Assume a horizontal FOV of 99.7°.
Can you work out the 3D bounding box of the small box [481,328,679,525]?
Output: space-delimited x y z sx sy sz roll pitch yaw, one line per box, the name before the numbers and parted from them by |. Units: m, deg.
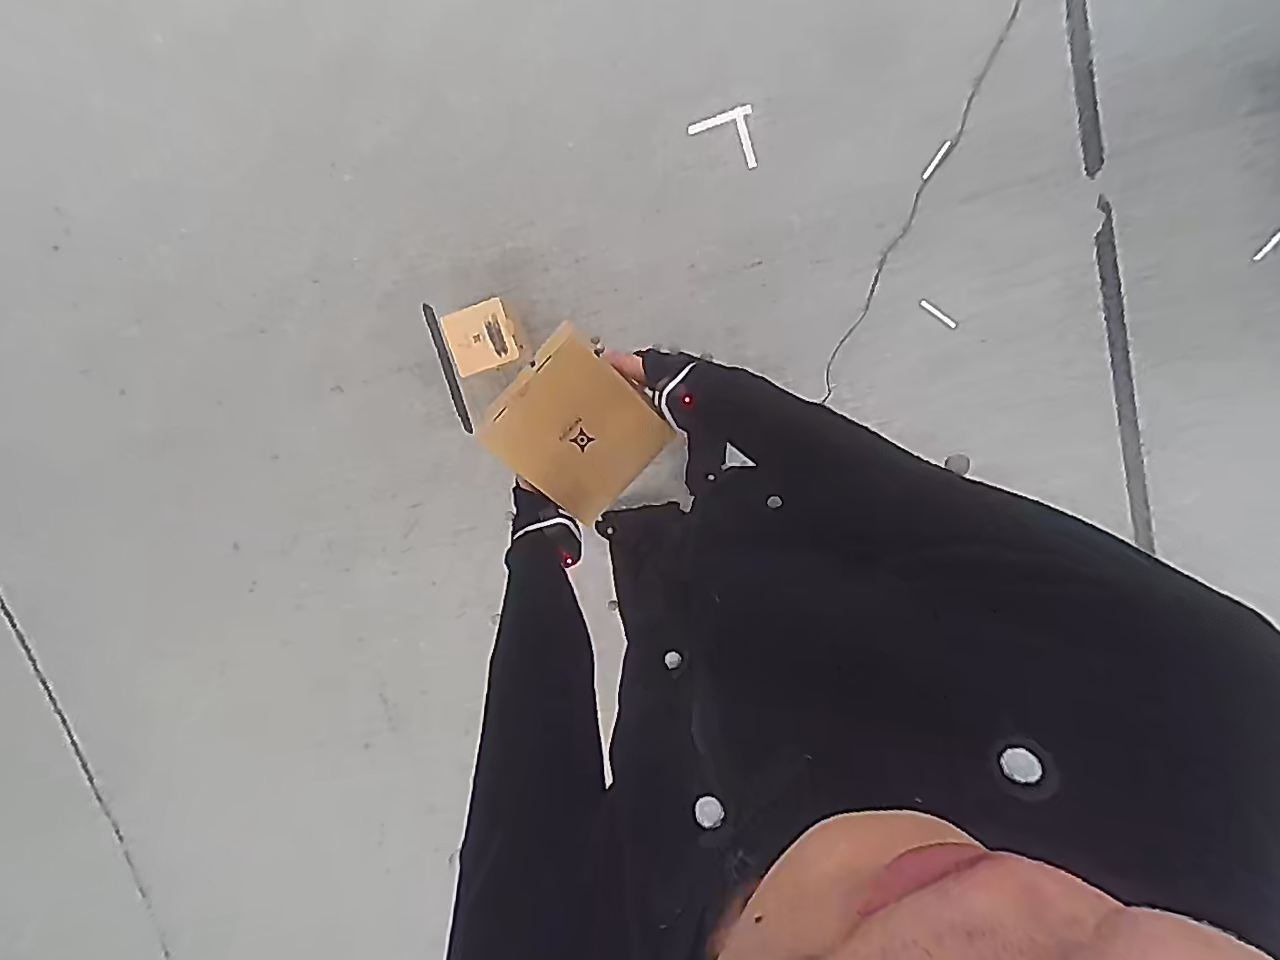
small box | -0.076 -0.080 0.706 0.179 0.176 0.168 40 101 -19
